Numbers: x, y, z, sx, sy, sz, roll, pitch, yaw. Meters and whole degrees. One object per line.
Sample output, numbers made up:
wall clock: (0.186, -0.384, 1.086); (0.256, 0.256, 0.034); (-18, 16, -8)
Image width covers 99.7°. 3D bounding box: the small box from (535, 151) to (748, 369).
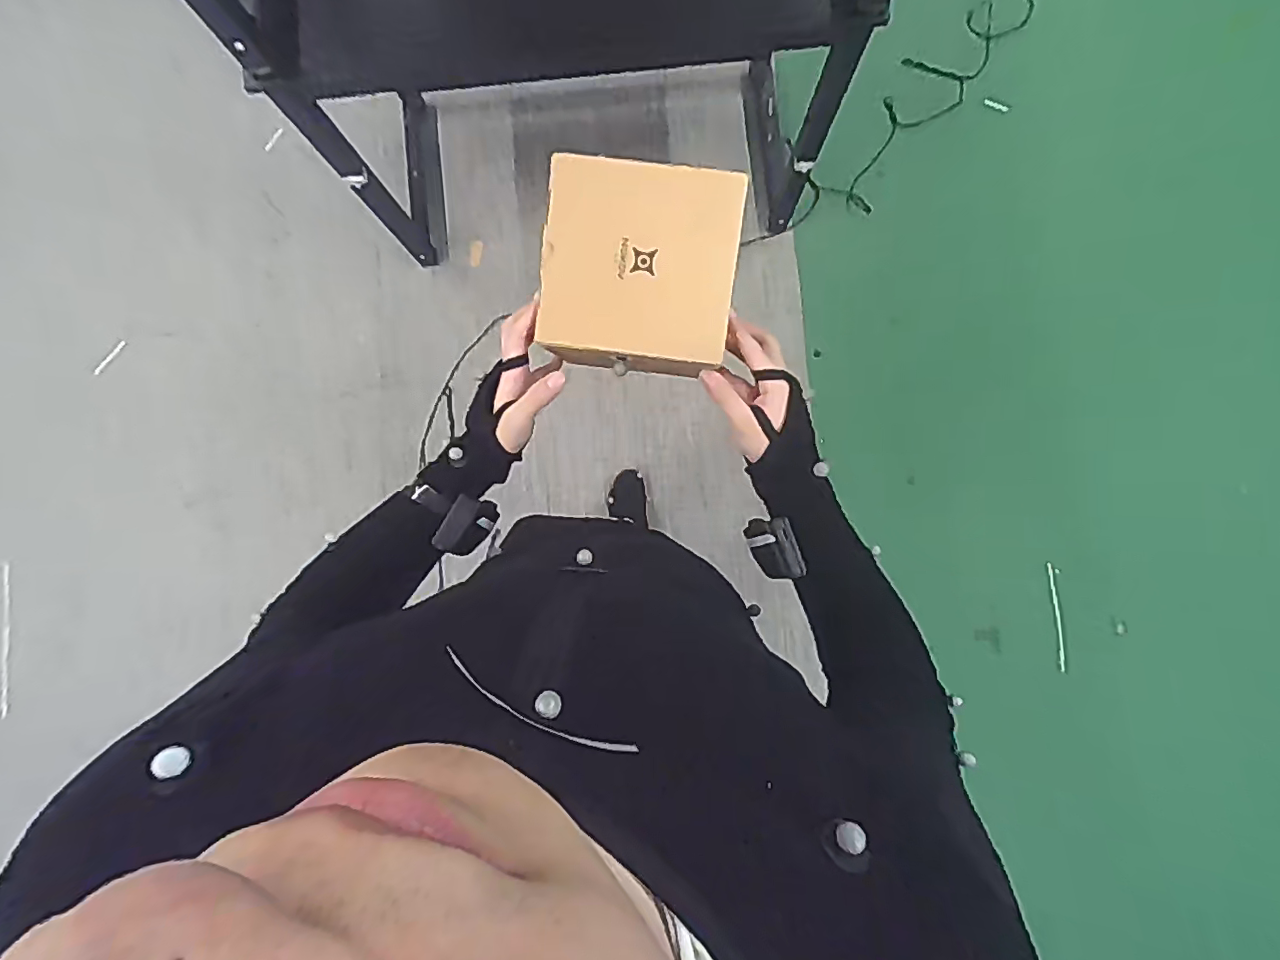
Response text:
small box: (0.006, -0.209, 0.559); (0.179, 0.176, 0.168); (7, 98, 5)
